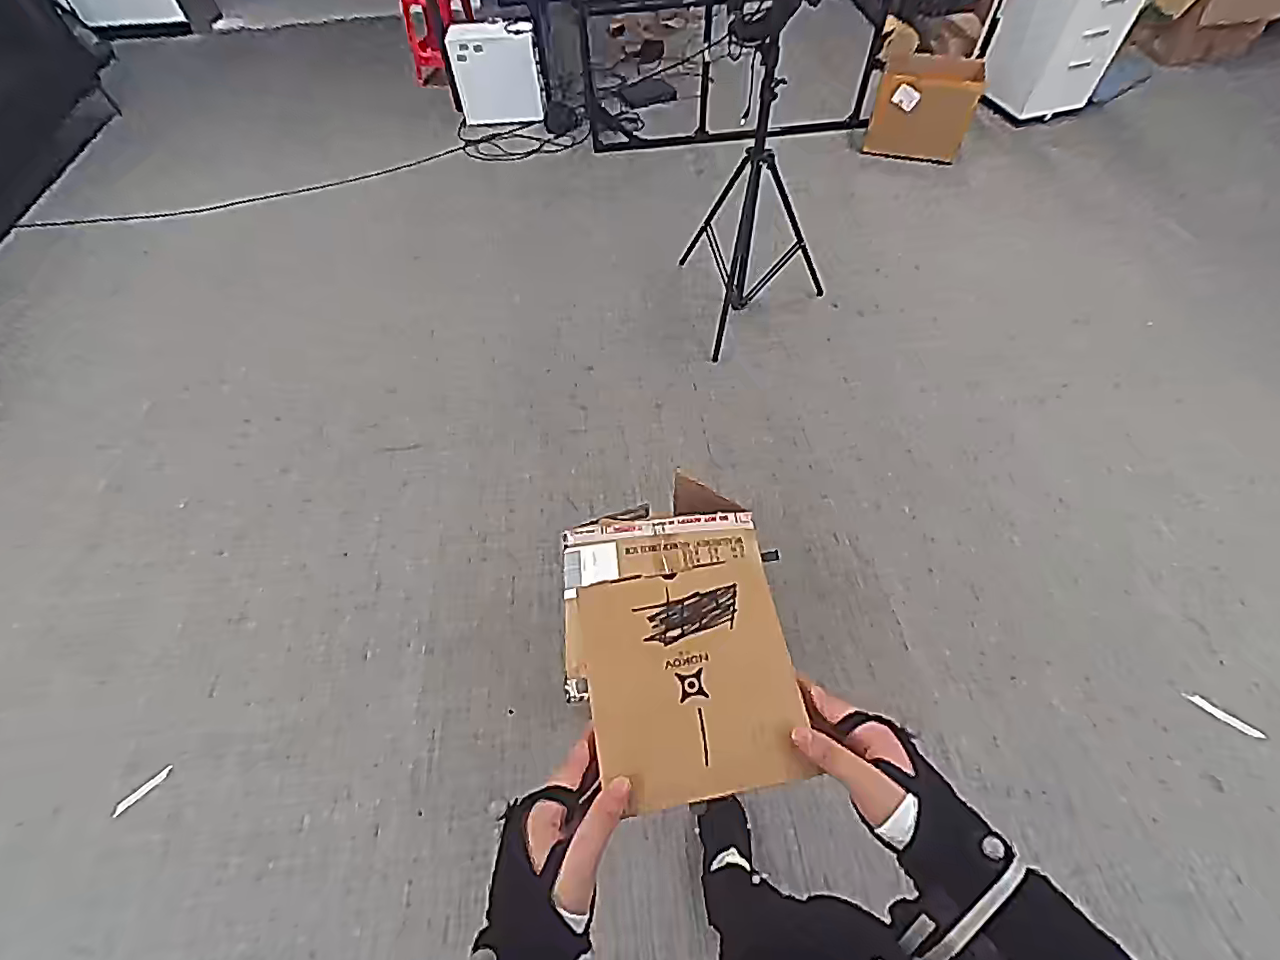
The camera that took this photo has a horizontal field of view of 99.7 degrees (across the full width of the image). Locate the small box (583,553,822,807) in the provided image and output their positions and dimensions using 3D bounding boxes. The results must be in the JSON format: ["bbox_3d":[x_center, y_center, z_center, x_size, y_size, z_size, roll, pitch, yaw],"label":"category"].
[{"bbox_3d":[0.043,0.189,0.507,0.168,0.176,0.179,-9,63,-4],"label":"small box"}]
